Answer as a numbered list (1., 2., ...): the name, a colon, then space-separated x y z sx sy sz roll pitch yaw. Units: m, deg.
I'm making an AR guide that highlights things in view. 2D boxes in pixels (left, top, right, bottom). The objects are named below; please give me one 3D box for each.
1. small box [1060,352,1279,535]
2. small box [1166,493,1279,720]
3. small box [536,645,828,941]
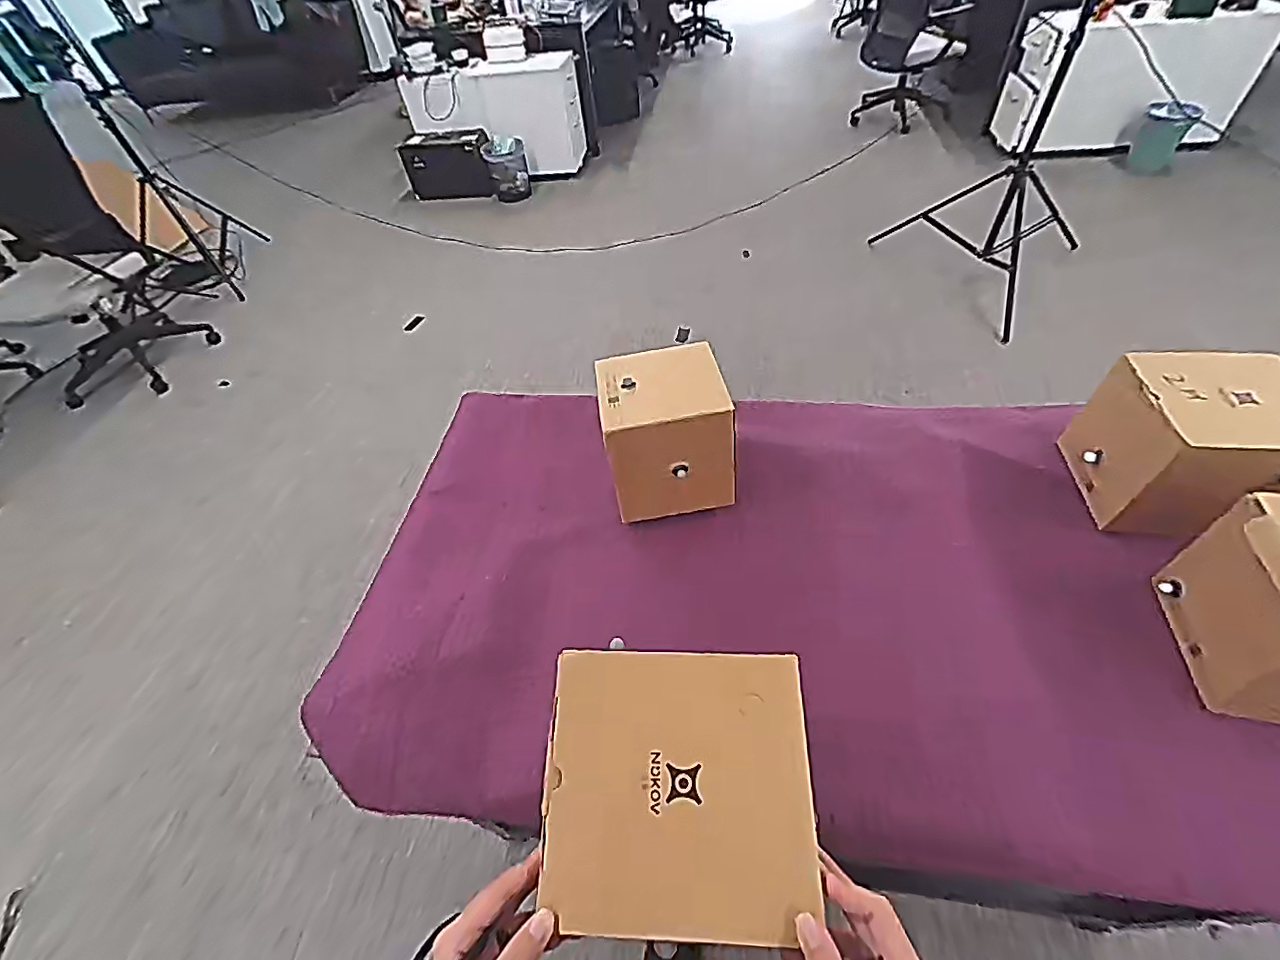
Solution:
1. small box: 0.695 -0.043 0.690 0.179 0.176 0.168 2 50 9
2. small box: 0.686 0.136 0.536 0.179 0.176 0.168 7 49 12
3. small box: 0.032 0.231 0.425 0.179 0.176 0.168 -1 62 5
